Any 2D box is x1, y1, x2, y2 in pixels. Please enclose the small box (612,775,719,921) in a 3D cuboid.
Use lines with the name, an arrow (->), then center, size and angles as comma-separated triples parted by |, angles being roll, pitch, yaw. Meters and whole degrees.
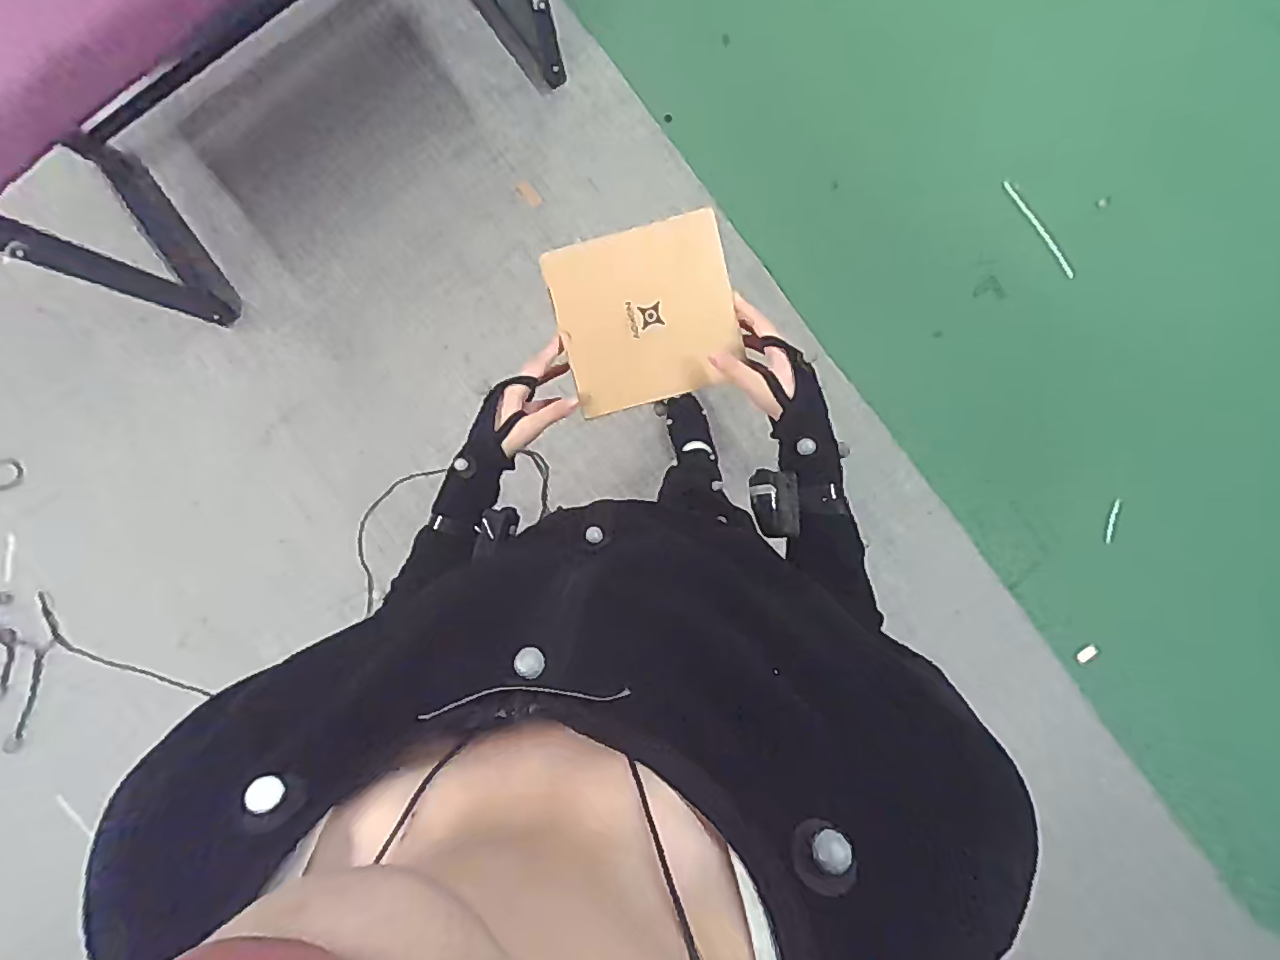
small box -> 0.057, 0.824, 1.230 | 0.168, 0.176, 0.179 | -39, 90, 1

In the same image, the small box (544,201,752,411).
small box -> 0.010, -0.183, 0.607 | 0.179, 0.176, 0.168 | -15, 100, 4
